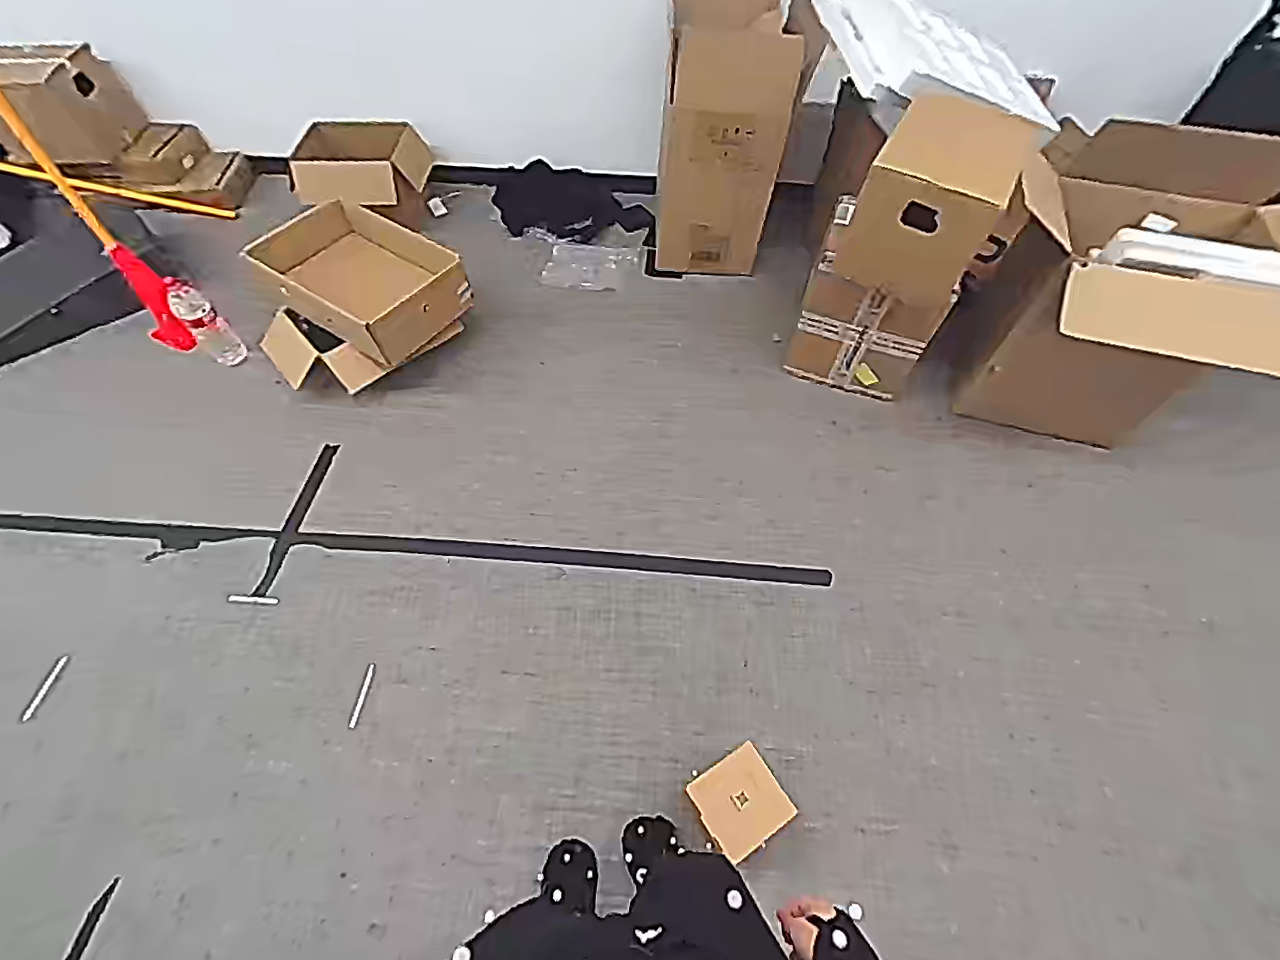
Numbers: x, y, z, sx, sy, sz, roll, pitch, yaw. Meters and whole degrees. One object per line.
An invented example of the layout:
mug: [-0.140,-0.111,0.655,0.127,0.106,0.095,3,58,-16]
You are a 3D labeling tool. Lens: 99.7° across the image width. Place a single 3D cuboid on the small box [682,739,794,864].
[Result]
small box: [0.204,0.705,1.190,0.179,0.176,0.168,-28,63,-18]
